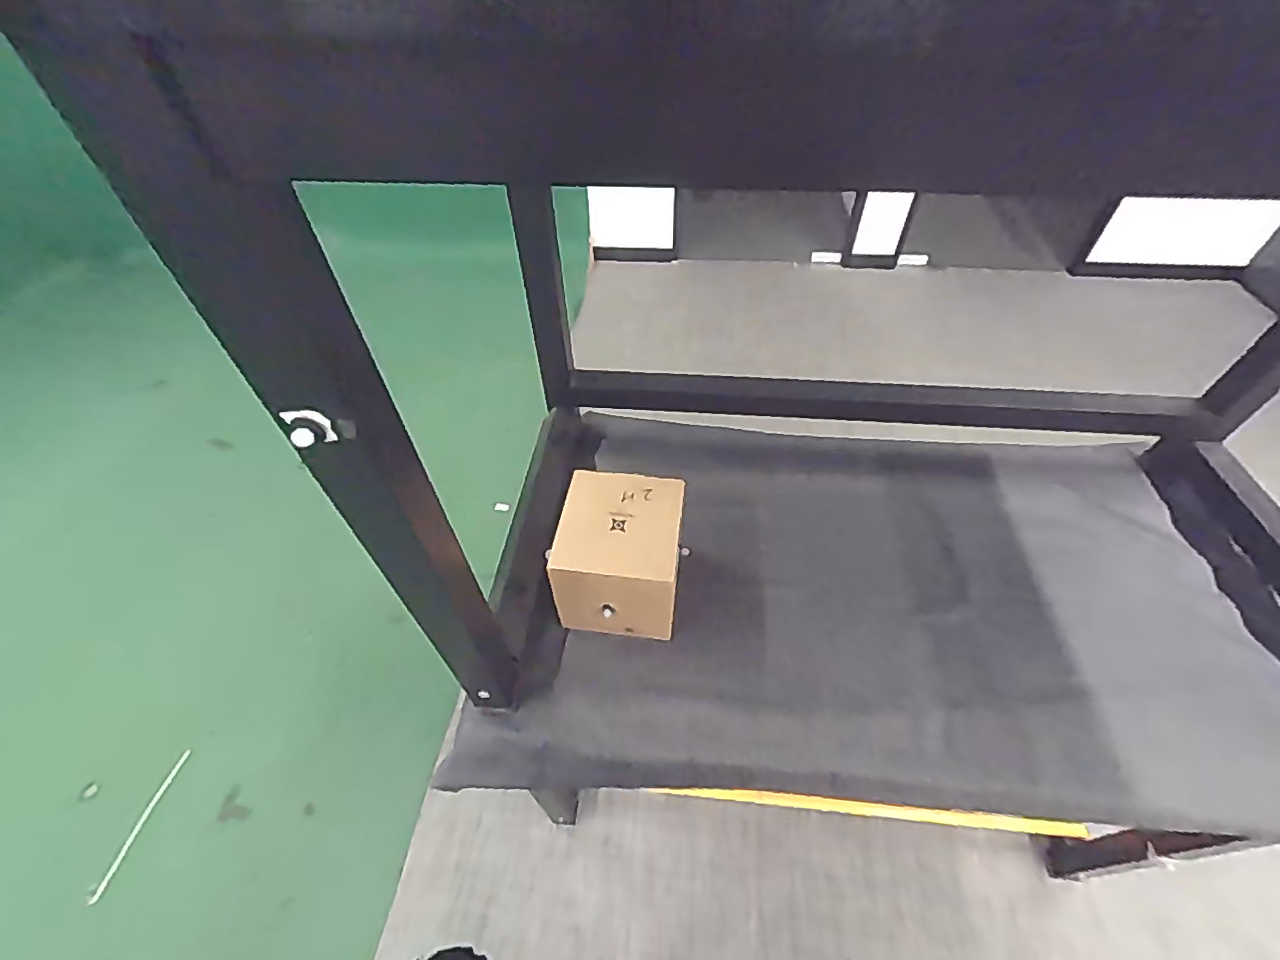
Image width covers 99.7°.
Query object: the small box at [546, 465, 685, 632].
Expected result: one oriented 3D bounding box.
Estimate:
[{"bbox_3d":[-0.026,0.103,0.790,0.168,0.176,0.179,6,49,6],"label":"small box"}]
